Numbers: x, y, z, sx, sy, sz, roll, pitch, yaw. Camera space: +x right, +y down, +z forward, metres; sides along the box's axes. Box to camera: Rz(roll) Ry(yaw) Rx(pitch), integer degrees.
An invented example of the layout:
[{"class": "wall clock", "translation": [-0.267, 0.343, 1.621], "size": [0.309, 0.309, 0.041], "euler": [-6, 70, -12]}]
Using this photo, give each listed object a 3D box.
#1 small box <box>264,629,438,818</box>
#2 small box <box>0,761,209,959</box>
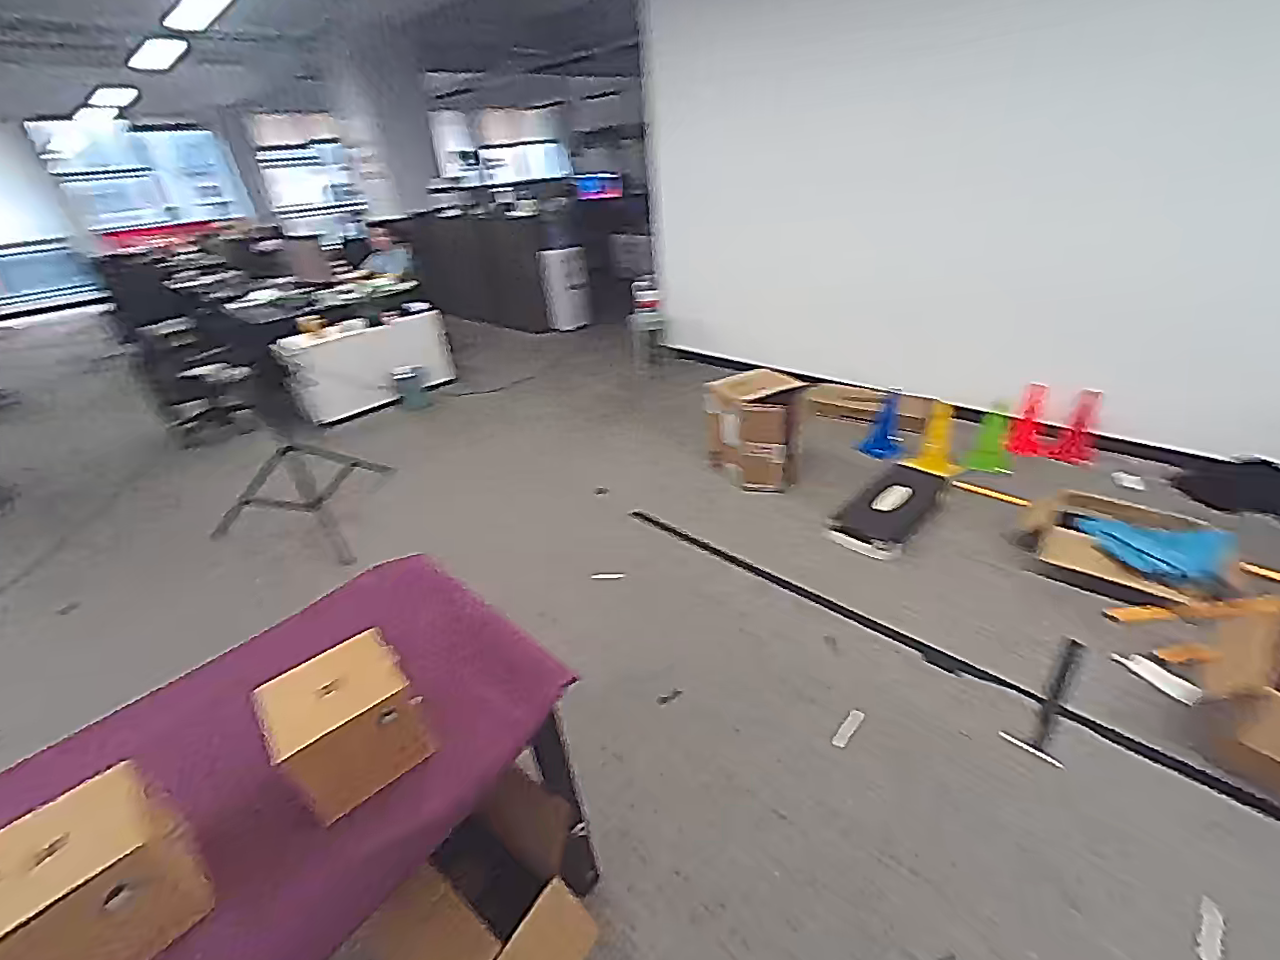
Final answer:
[{"class": "small box", "translation": [-0.450, 0.380, 0.853], "size": [0.179, 0.176, 0.168], "euler": [-27, 37, -32]}, {"class": "small box", "translation": [-0.680, 0.508, 0.673], "size": [0.168, 0.176, 0.179], "euler": [19, 38, 39]}]
